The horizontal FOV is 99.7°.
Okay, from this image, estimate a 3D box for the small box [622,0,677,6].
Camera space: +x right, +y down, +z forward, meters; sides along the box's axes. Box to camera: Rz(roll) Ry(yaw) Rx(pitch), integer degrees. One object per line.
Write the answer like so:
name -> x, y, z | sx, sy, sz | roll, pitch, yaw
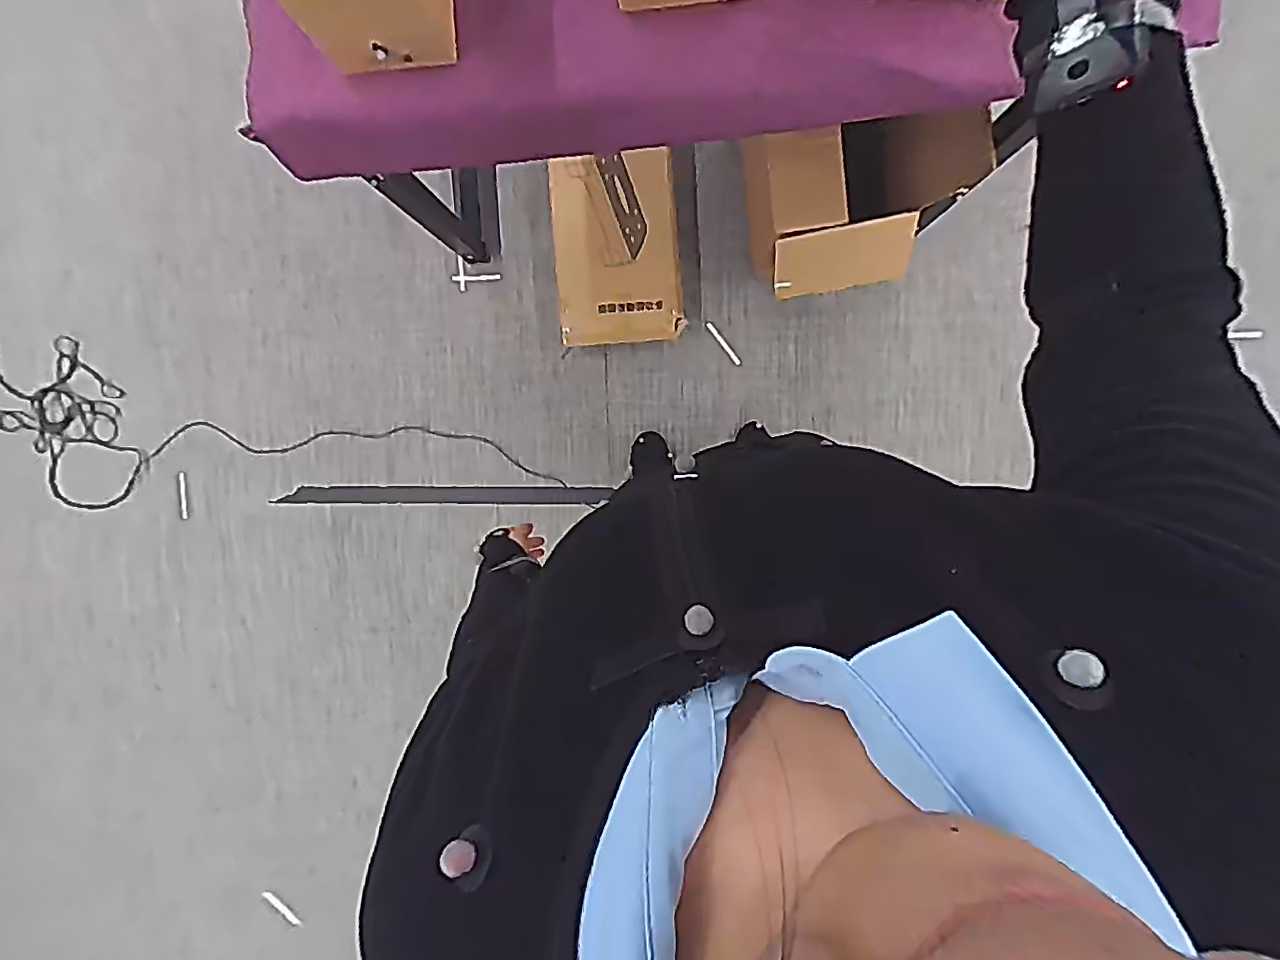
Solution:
small box -> 0.052, -0.695, 0.615 | 0.179, 0.176, 0.168 | -3, 92, 4
